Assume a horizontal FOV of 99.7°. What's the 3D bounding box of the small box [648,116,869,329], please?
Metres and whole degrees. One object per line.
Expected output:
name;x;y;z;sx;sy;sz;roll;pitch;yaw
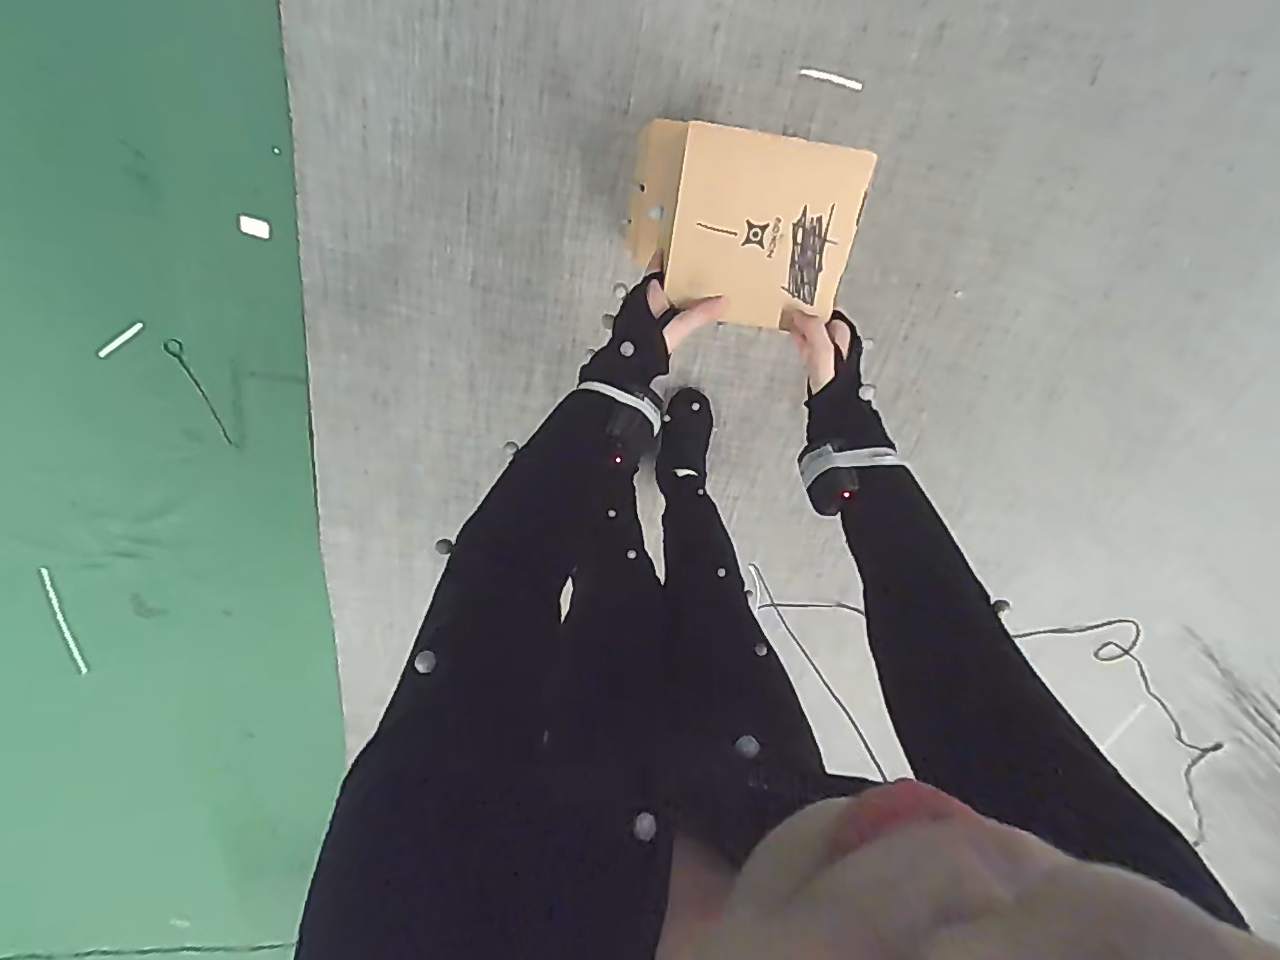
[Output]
small box;0.108;-0.275;0.585;0.179;0.176;0.168;7;117;-5

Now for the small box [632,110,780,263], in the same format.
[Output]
small box;0.080;-0.403;0.768;0.168;0.176;0.179;5;120;-6
